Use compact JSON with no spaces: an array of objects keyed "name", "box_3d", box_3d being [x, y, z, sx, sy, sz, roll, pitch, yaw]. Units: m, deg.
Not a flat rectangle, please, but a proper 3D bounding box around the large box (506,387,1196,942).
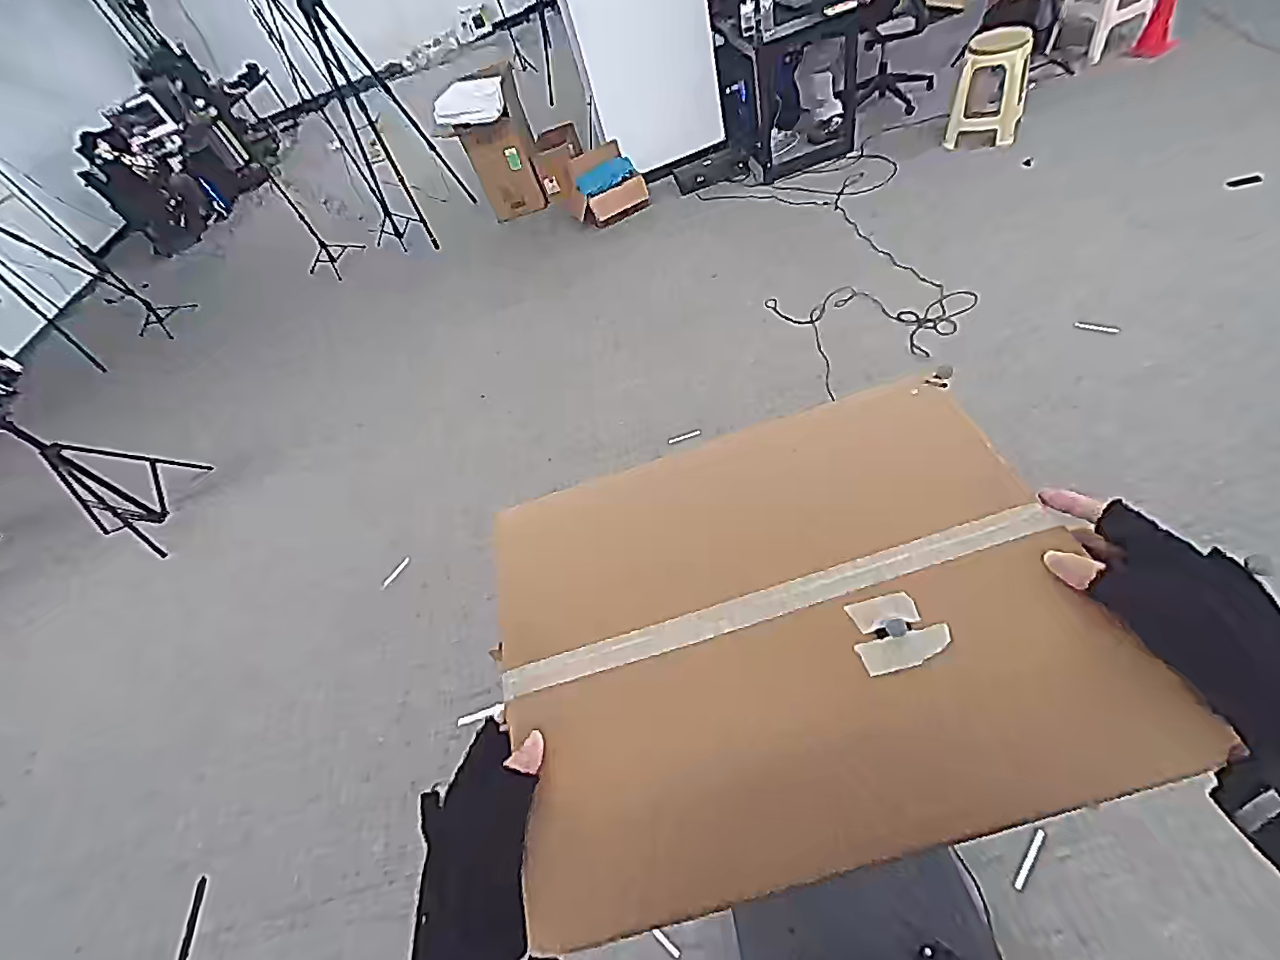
[{"name":"large box","box_3d":[0.129,0.178,0.521,0.408,0.320,0.320,-18,54,2]}]
